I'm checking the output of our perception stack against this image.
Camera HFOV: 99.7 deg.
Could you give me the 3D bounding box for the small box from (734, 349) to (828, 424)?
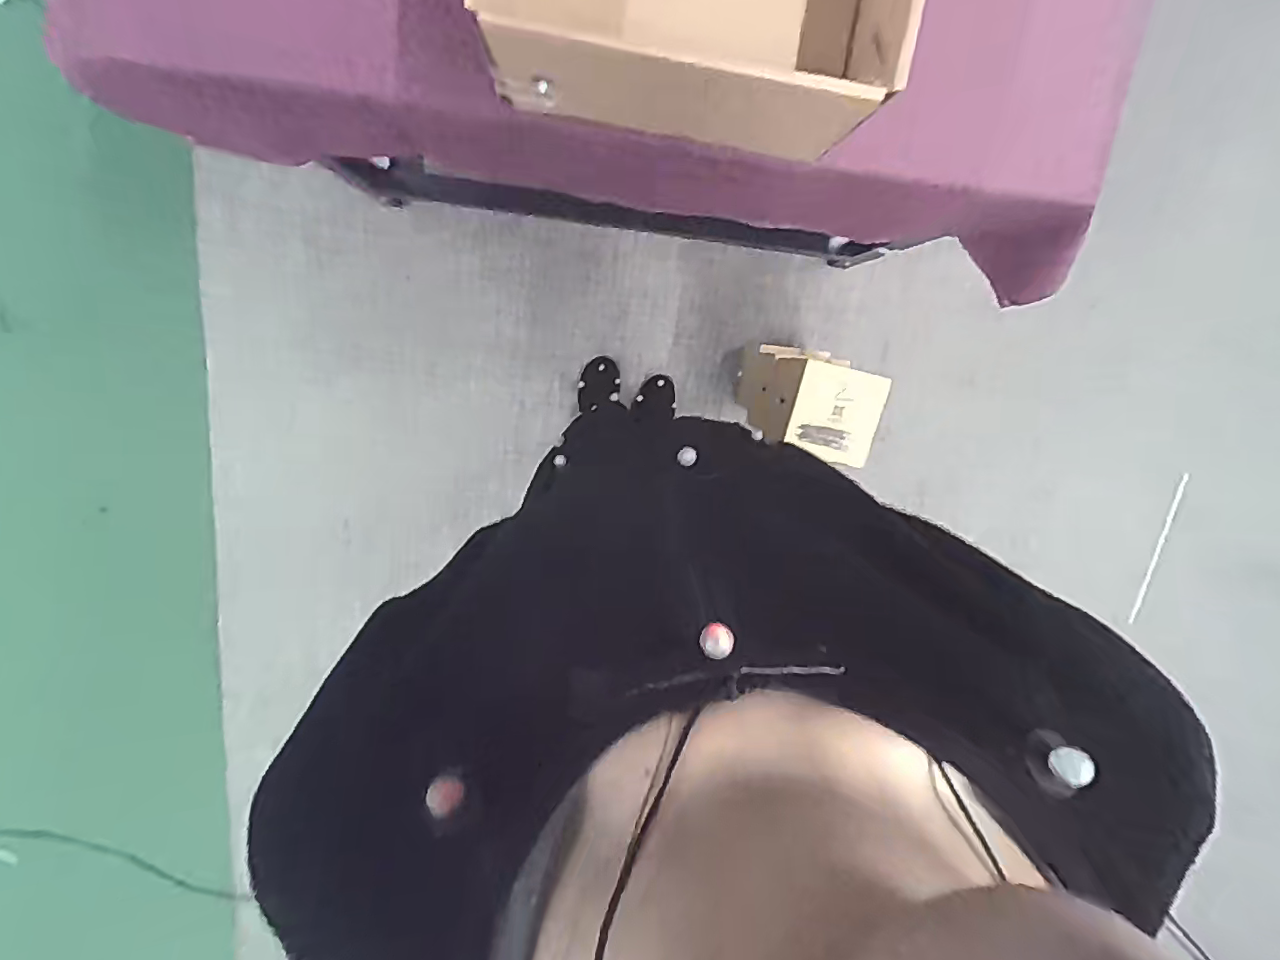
[{"bbox_3d":[0.354,-0.245,1.389,0.179,0.176,0.168,5,103,-3],"label":"small box"}]
